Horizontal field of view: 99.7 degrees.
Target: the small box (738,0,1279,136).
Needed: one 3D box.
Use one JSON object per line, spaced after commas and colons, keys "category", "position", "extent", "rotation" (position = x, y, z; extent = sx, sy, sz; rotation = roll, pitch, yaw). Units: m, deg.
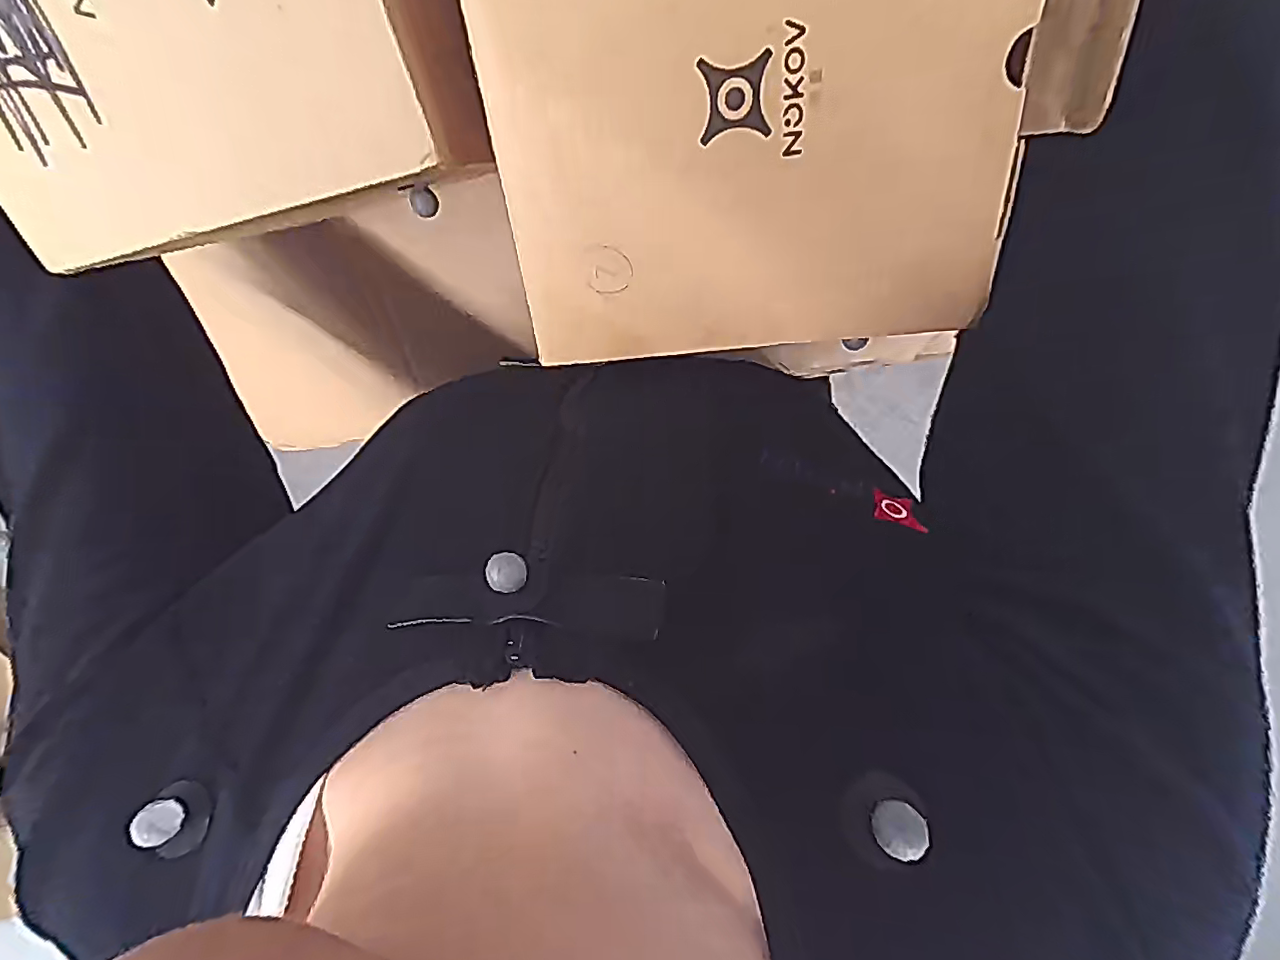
{"category": "small box", "position": [0.137, -0.227, 0.178], "extent": [0.179, 0.176, 0.168], "rotation": [8, 129, -1]}
